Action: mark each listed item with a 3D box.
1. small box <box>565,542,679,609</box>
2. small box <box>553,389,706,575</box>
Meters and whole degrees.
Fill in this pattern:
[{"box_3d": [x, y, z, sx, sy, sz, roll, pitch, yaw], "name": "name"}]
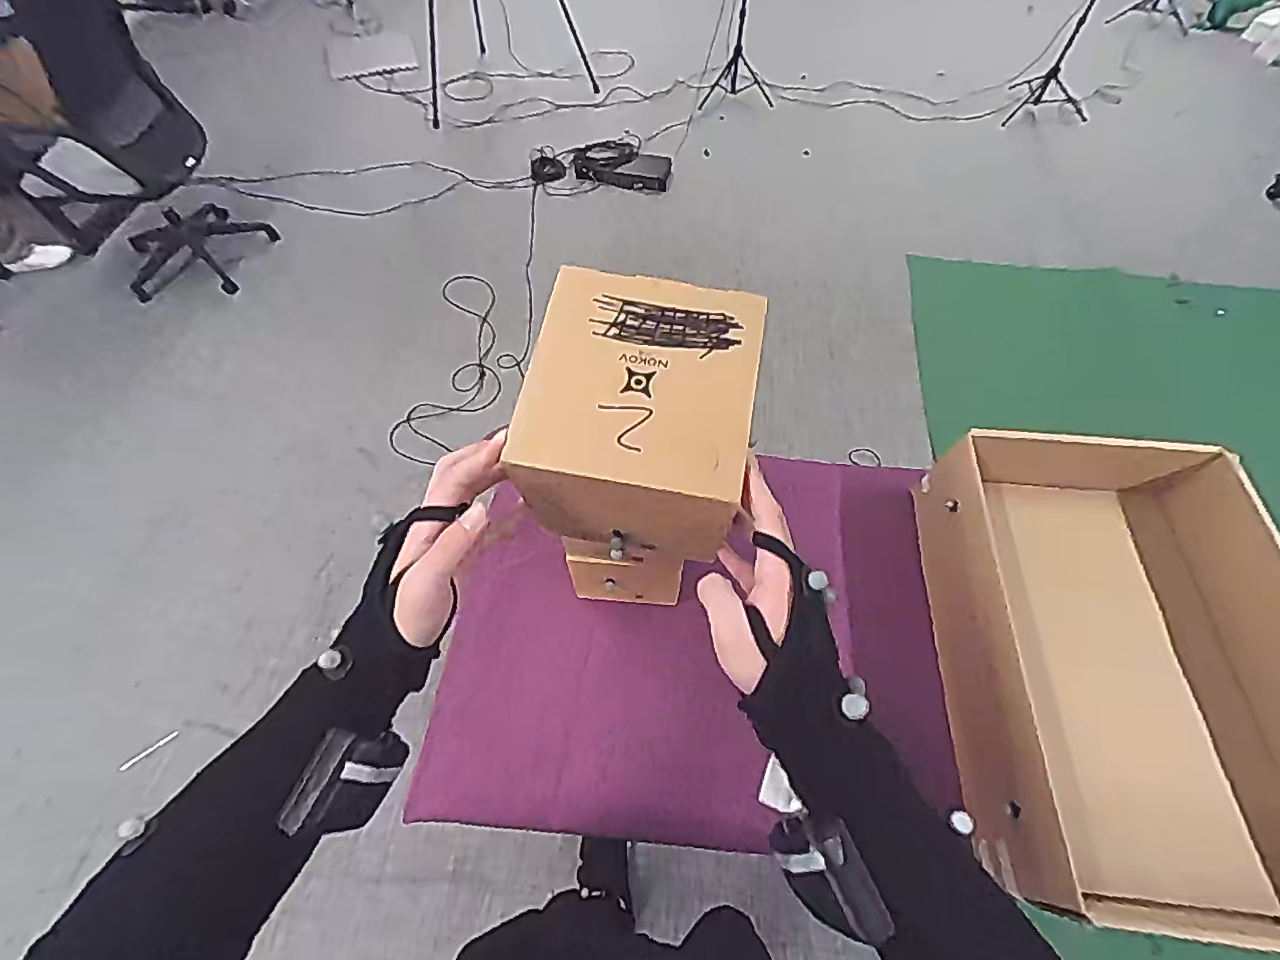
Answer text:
[{"box_3d": [-0.016, 0.096, 0.867, 0.168, 0.176, 0.179, 4, 57, 3], "name": "small box"}, {"box_3d": [-0.009, 0.006, 0.729, 0.168, 0.176, 0.179, 8, 58, 5], "name": "small box"}]
